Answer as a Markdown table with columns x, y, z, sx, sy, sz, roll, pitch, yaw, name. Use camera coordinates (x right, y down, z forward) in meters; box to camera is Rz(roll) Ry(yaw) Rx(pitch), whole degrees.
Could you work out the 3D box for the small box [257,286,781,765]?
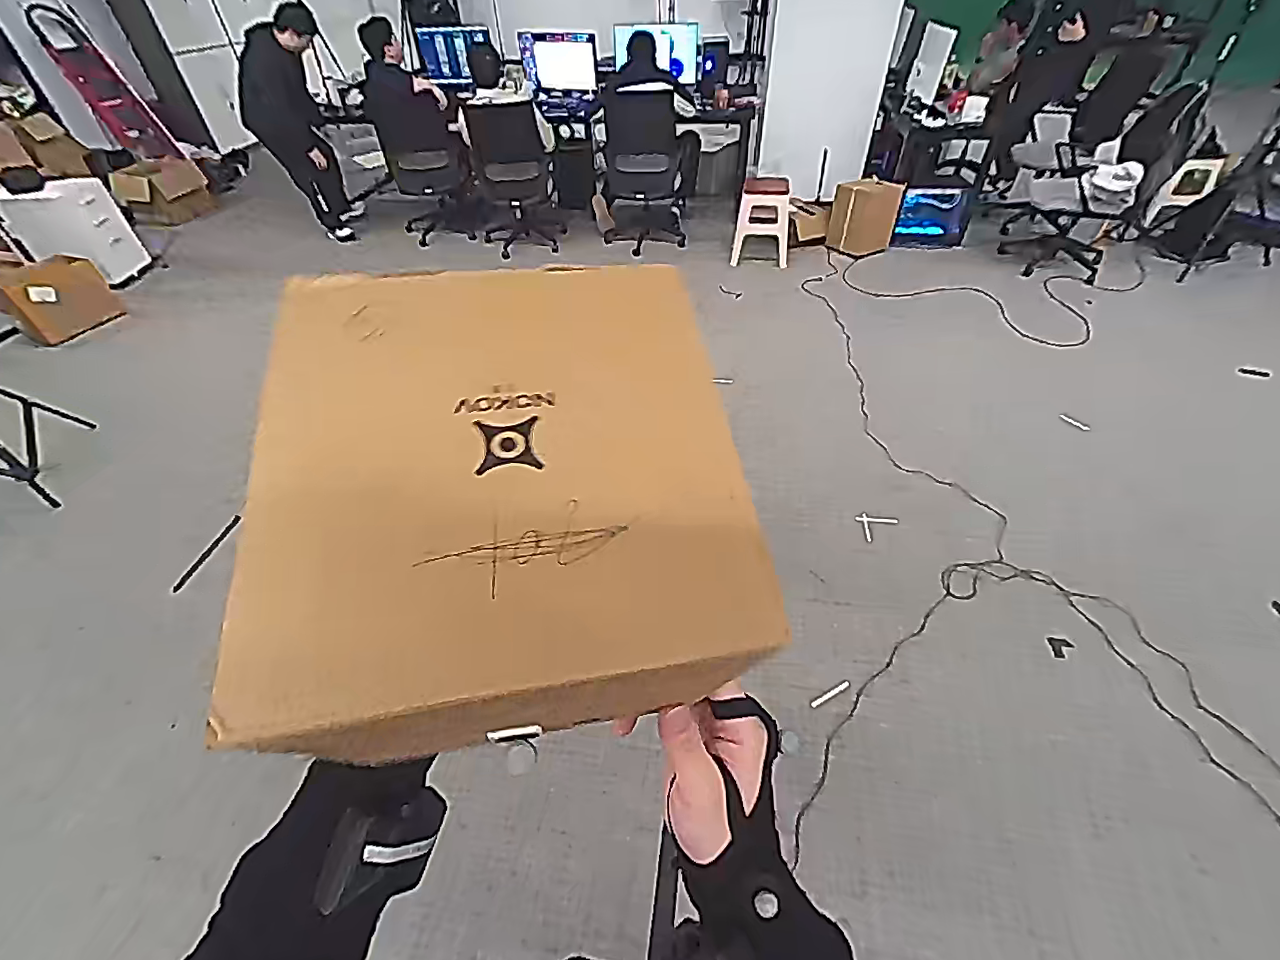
| x | y | z | sx | sy | sz | roll | pitch | yaw | name |
| --- | --- | --- | --- | --- | --- | --- | --- | --- | --- |
| -0.056 | 0.030 | 0.277 | 0.168 | 0.176 | 0.179 | -9 | 62 | -11 | small box |
